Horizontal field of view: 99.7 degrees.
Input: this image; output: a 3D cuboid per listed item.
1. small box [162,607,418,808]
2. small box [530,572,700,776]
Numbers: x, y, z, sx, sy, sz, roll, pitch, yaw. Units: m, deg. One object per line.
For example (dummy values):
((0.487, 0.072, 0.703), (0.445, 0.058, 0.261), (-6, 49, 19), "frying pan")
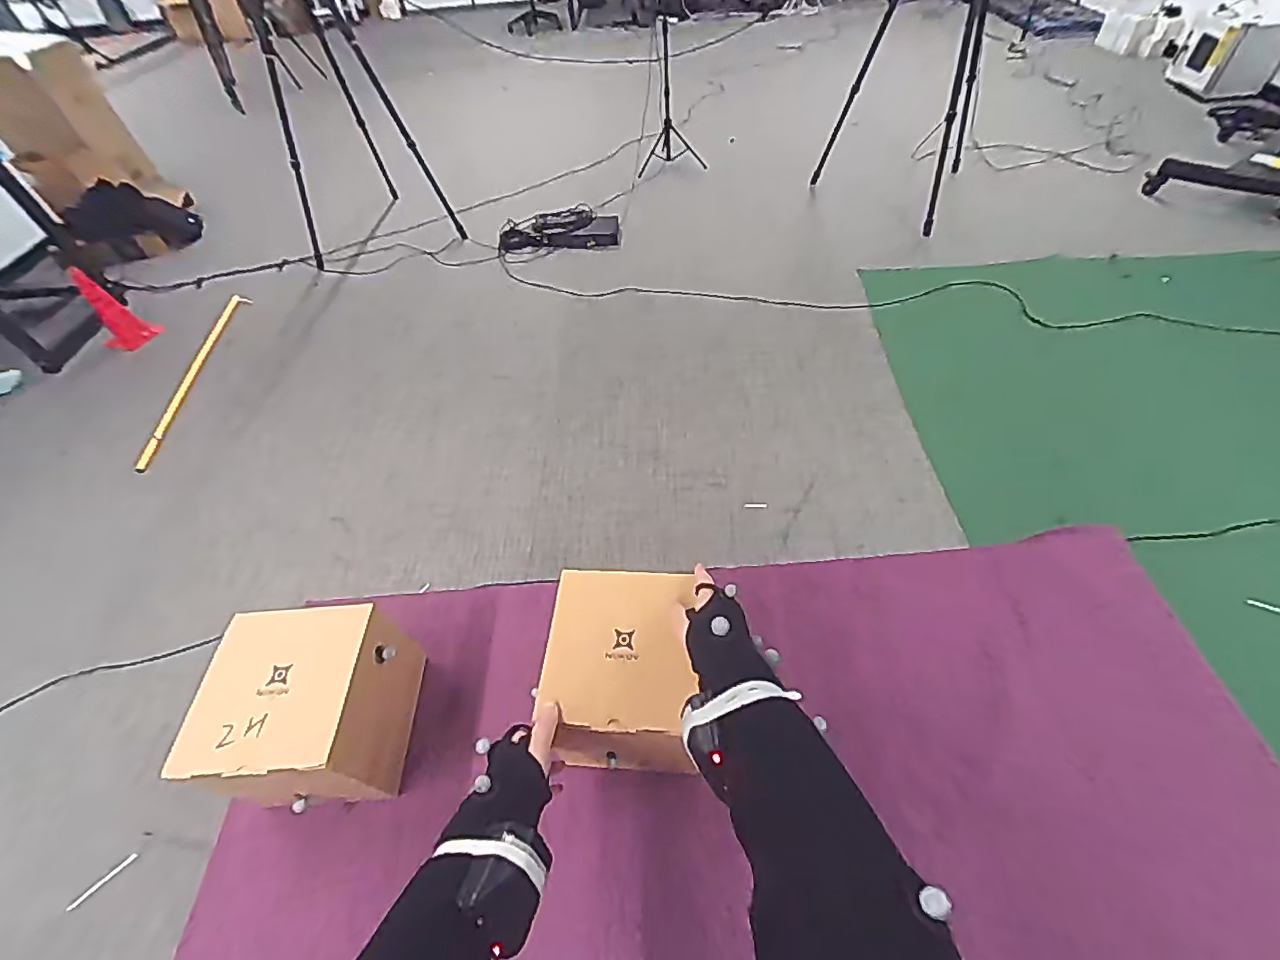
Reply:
((-0.383, 0.269, 0.637), (0.168, 0.176, 0.179), (-4, 51, 2), "small box")
((-0.017, 0.230, 0.639), (0.168, 0.176, 0.179), (2, 52, 6), "small box")
